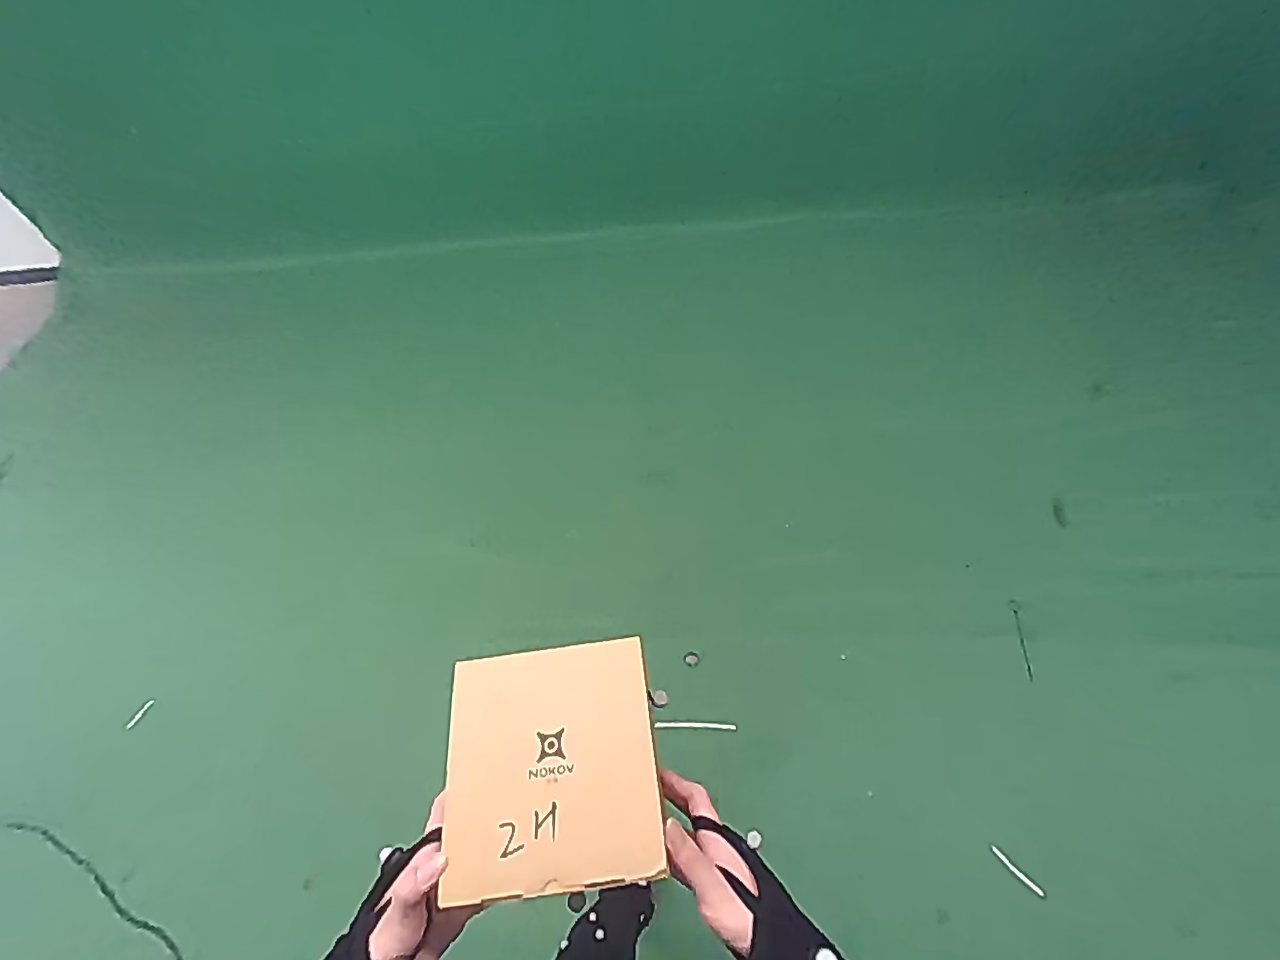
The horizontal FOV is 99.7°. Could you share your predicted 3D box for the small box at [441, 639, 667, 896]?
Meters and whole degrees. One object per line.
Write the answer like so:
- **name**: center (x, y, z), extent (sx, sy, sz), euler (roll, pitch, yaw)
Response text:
- **small box**: center (-0.066, 0.267, 0.504), extent (0.168, 0.176, 0.179), euler (-7, 56, 0)
